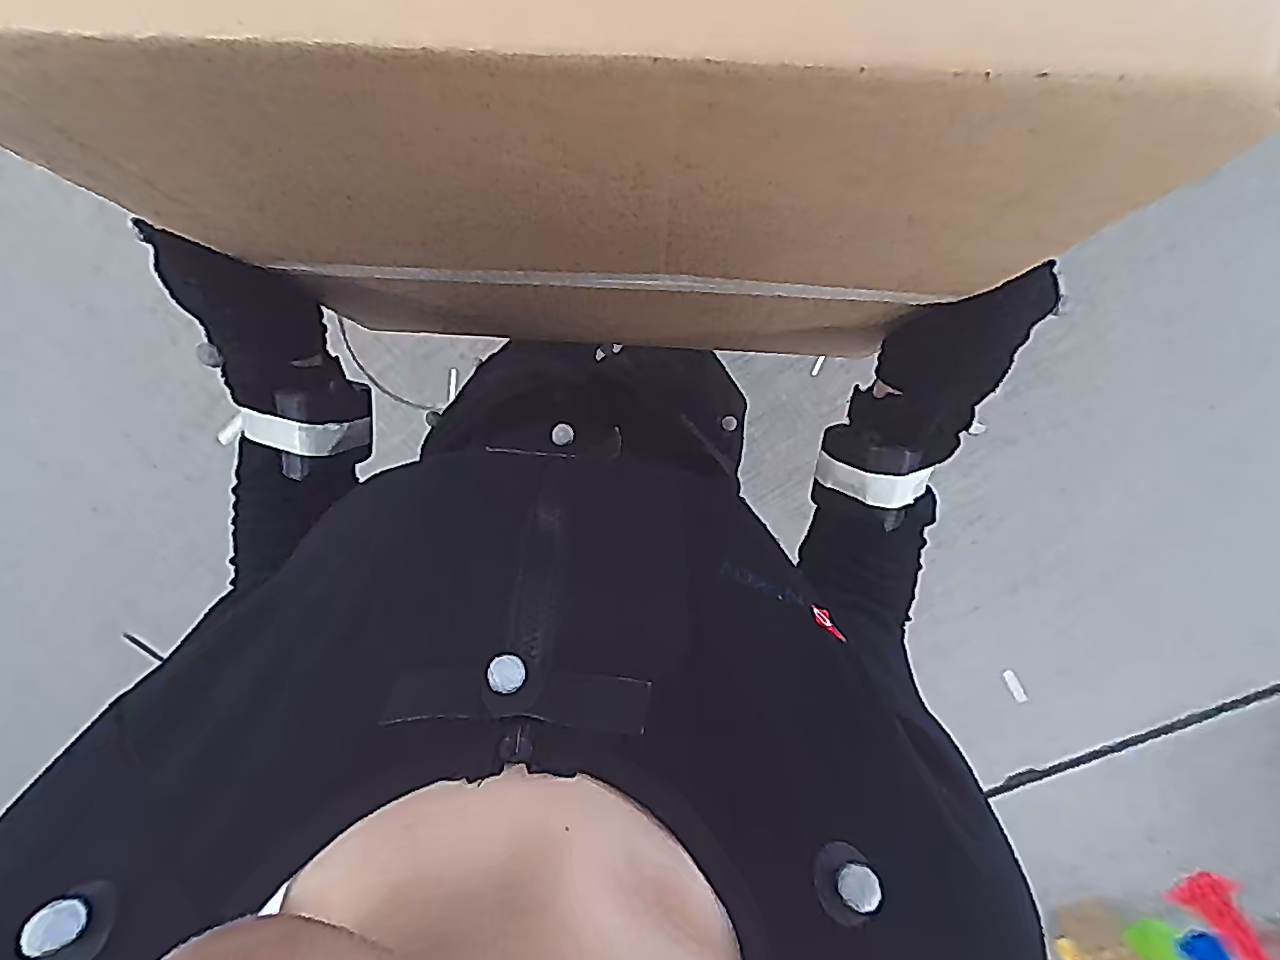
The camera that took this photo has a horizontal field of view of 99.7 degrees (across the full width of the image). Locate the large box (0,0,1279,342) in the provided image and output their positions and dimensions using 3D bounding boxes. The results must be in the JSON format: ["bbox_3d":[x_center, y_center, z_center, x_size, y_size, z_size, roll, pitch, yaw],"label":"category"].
[{"bbox_3d":[-0.021,-0.271,0.295,0.408,0.320,0.320,2,92,1],"label":"large box"}]
